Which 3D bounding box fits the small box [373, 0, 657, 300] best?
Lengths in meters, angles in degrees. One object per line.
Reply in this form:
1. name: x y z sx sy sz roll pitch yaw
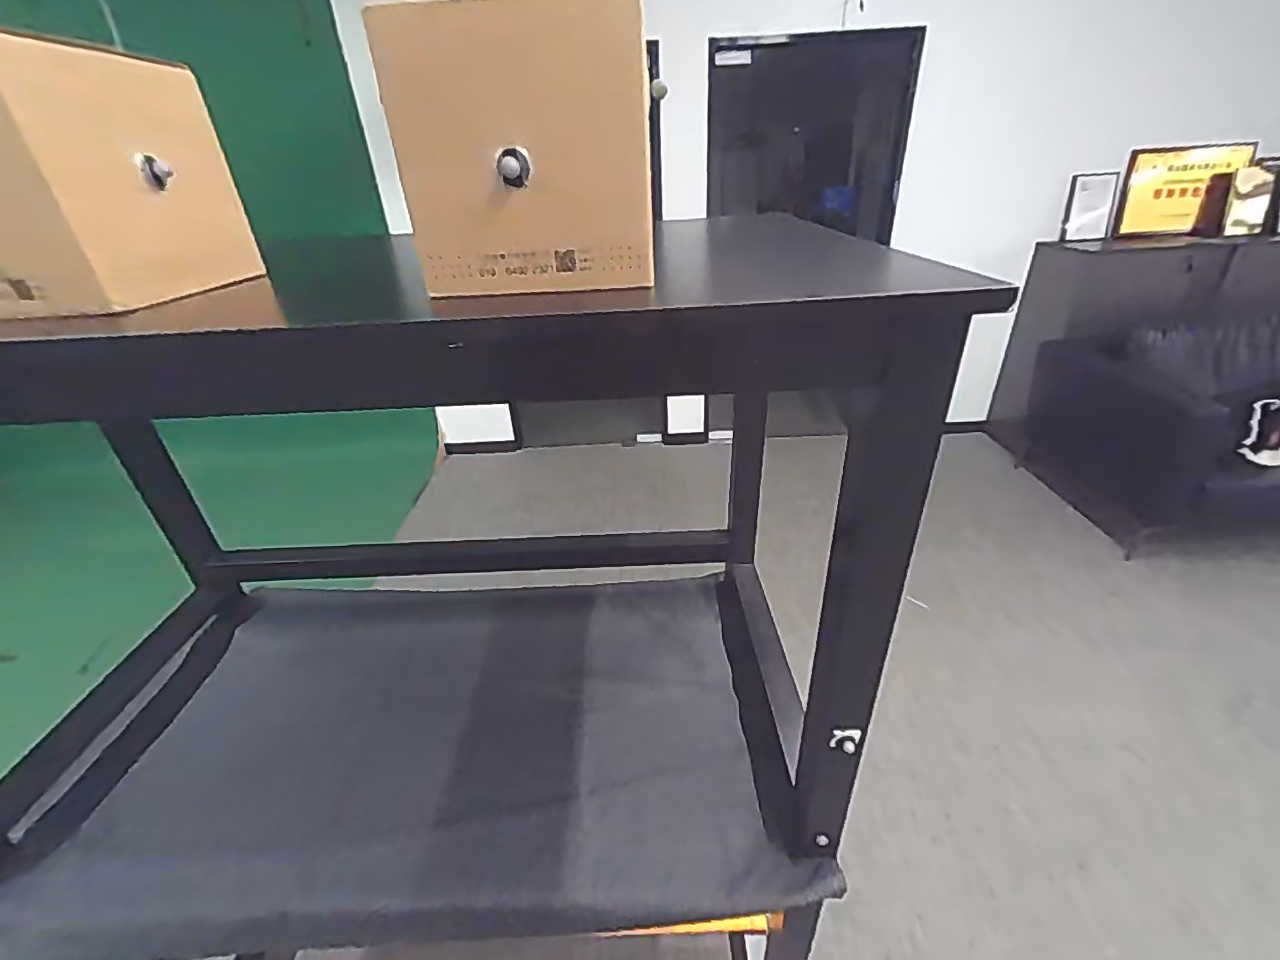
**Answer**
1. small box: -0.071 -0.242 0.426 0.168 0.176 0.179 -1 30 2
